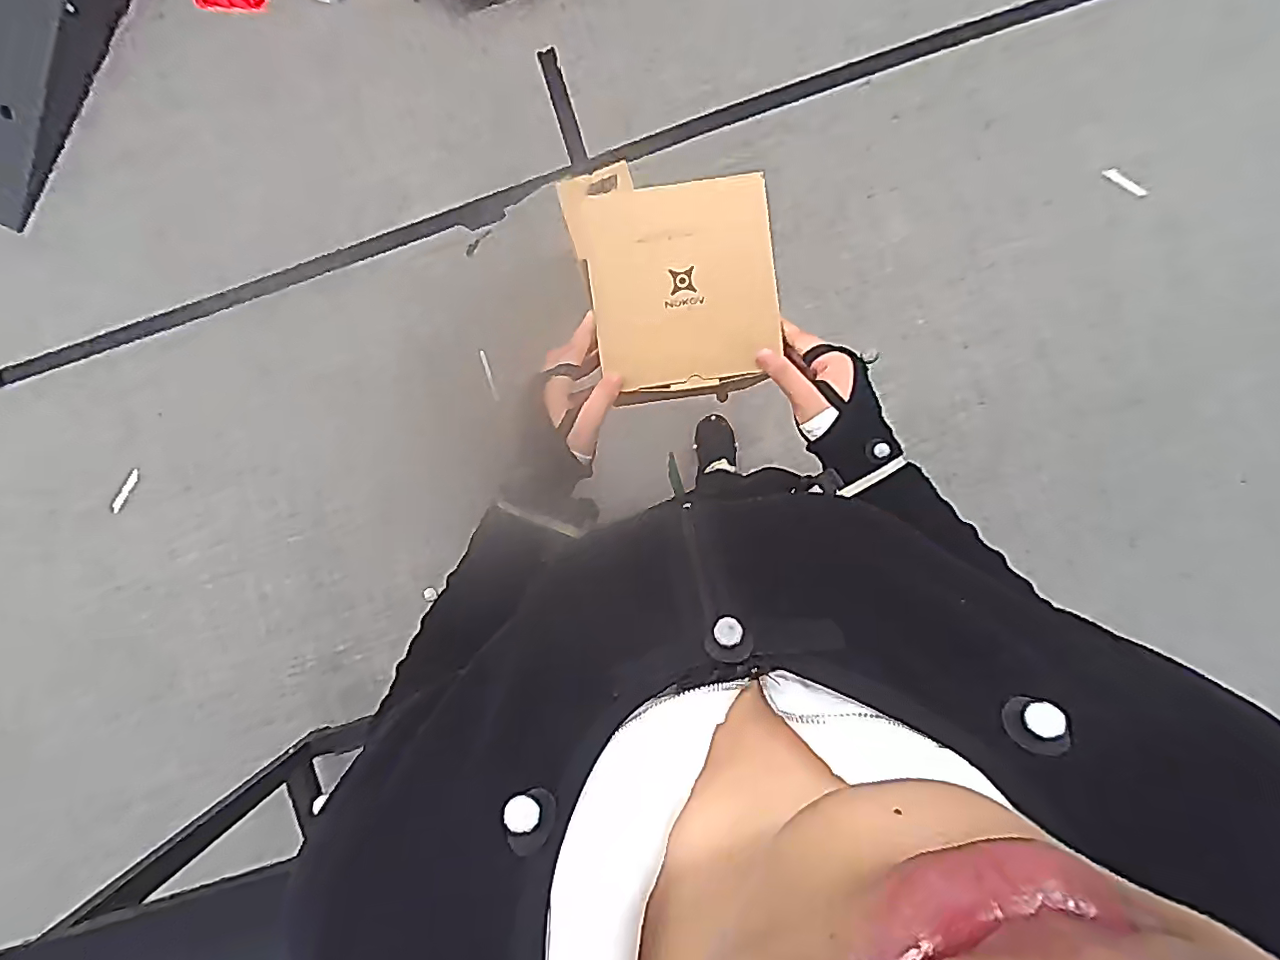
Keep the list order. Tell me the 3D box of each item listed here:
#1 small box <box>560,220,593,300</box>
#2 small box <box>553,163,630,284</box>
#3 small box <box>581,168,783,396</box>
[{"bbox_3d":[-0.092,-0.590,1.410,0.179,0.176,0.168,-18,92,0],"label":"small box"},{"bbox_3d":[-0.088,-0.581,1.246,0.168,0.176,0.179,-18,92,1],"label":"small box"},{"bbox_3d":[0.037,-0.184,0.557,0.168,0.176,0.179,-8,94,-1],"label":"small box"}]
